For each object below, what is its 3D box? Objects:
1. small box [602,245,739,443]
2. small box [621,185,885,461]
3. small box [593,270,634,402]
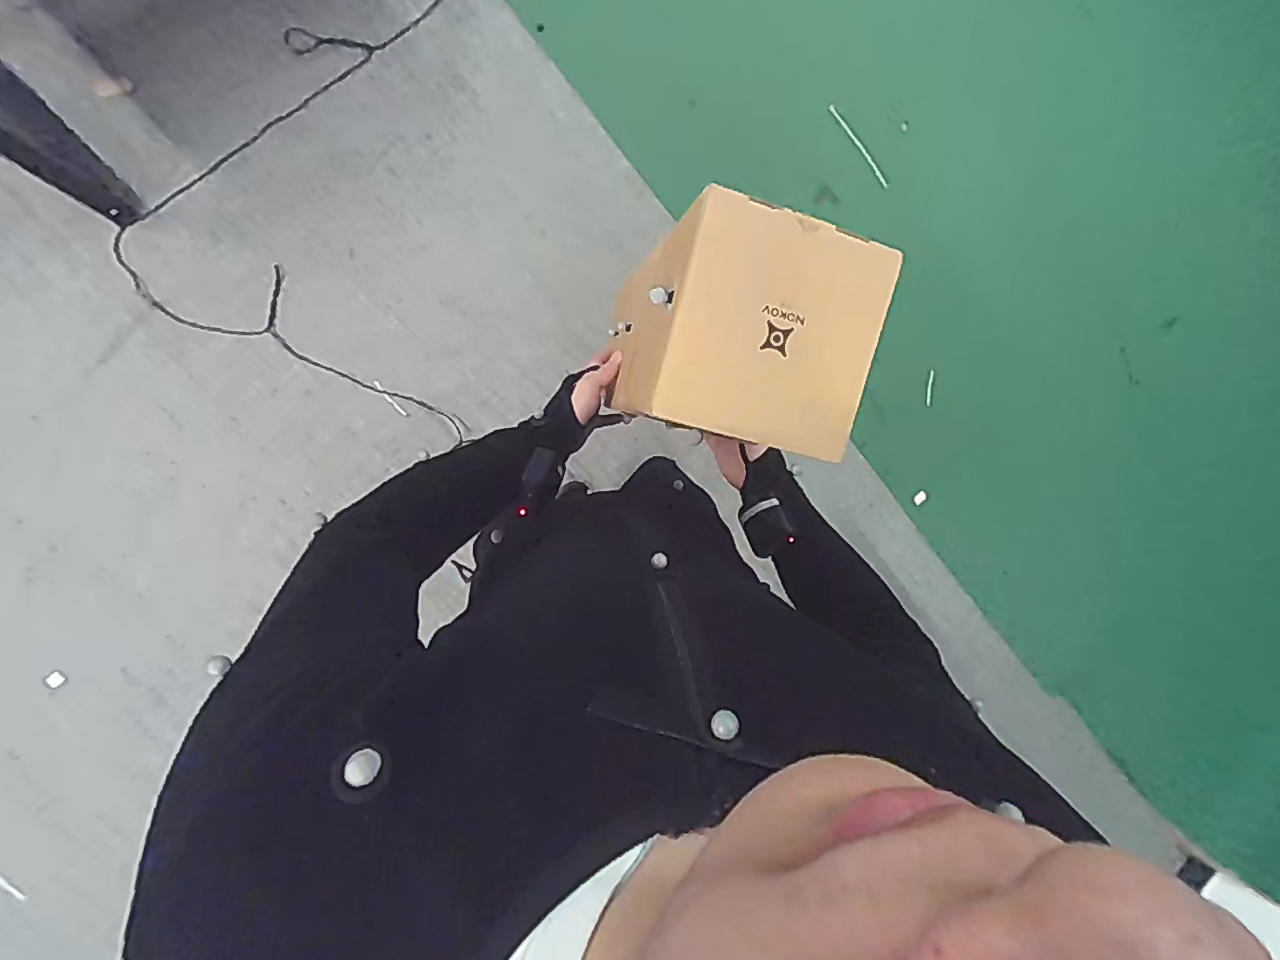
[{"bbox_3d":[0.053,-0.152,0.655,0.168,0.176,0.179,13,96,-11],"label":"small box"},{"bbox_3d":[0.084,-0.127,0.498,0.168,0.176,0.179,13,96,-11],"label":"small box"},{"bbox_3d":[0.029,-0.188,0.814,0.168,0.176,0.179,12,97,-11],"label":"small box"}]
